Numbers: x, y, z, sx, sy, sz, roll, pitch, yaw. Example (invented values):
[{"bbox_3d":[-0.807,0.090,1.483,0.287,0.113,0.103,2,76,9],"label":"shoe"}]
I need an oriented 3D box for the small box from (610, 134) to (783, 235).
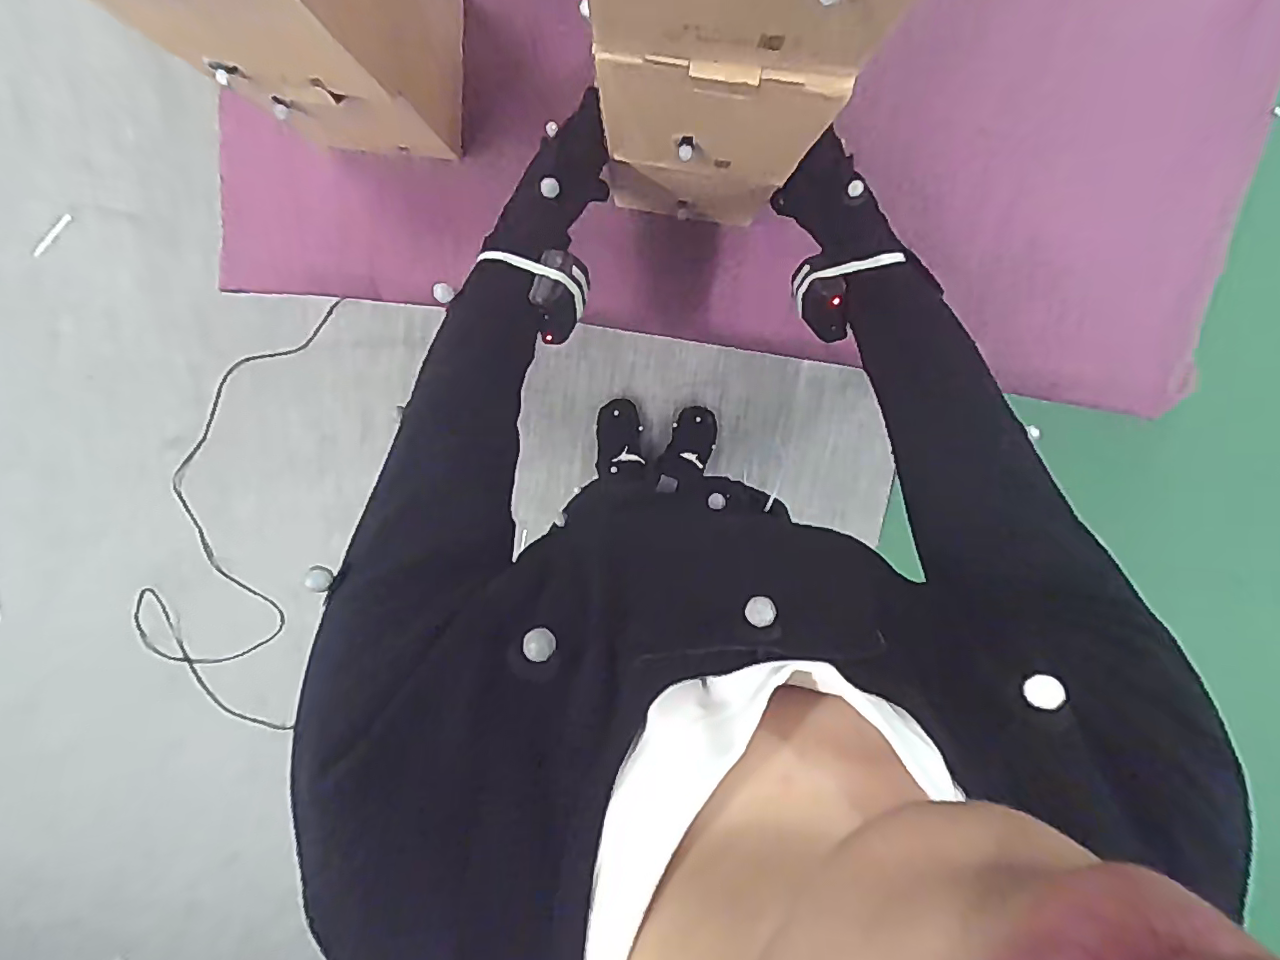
[{"bbox_3d":[0.066,-0.376,0.558,0.168,0.176,0.179,10,103,-1],"label":"small box"}]

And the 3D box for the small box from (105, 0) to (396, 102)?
[{"bbox_3d":[-0.283,-0.404,0.378,0.168,0.176,0.179,9,103,-4],"label":"small box"}]

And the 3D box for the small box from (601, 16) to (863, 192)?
[{"bbox_3d":[0.066,-0.342,0.399,0.168,0.176,0.179,8,102,-2],"label":"small box"}]

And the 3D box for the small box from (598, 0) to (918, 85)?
[{"bbox_3d":[0.066,-0.314,0.236,0.168,0.176,0.179,6,101,-3],"label":"small box"}]
